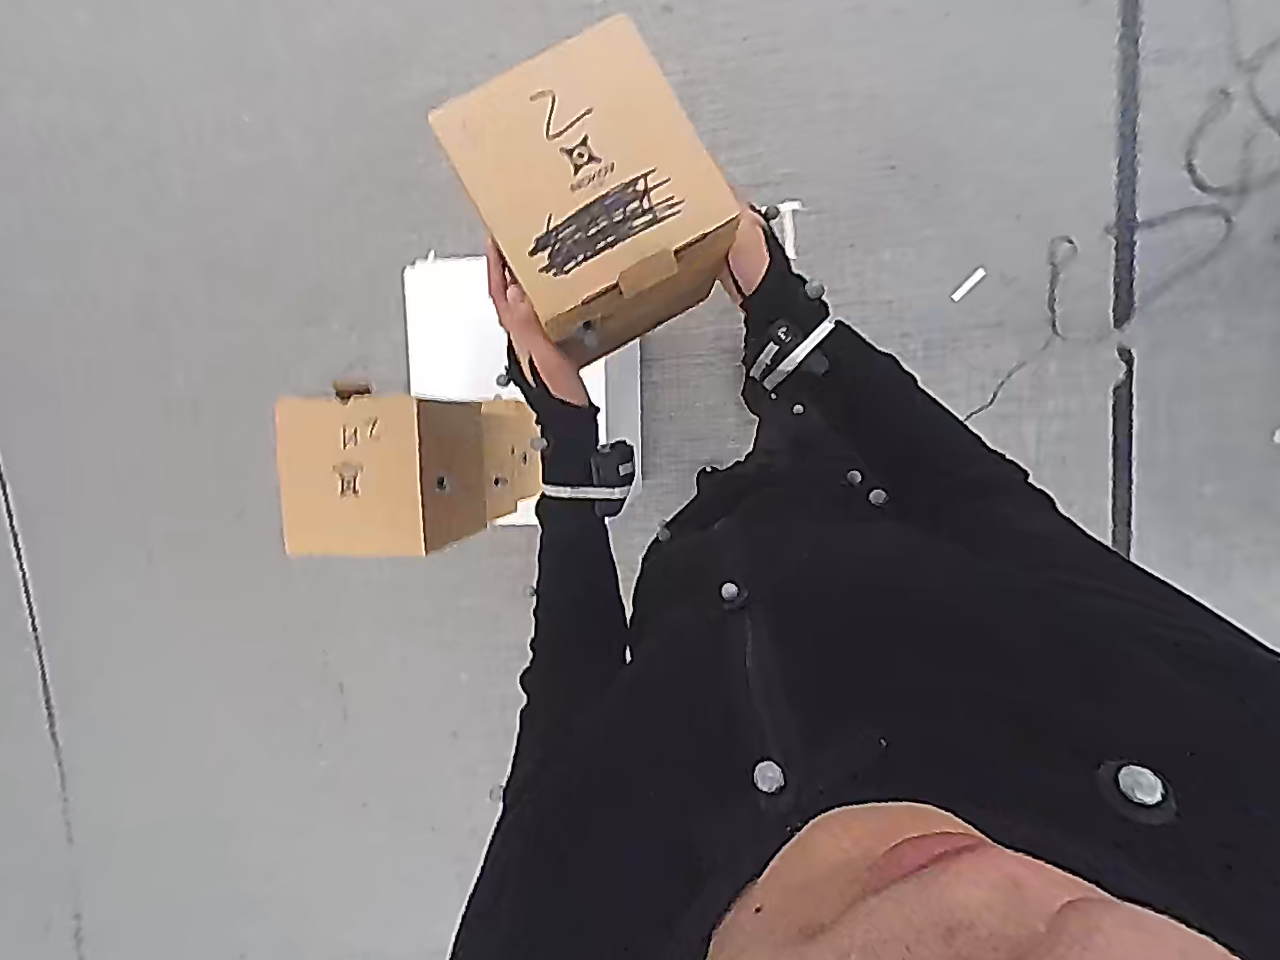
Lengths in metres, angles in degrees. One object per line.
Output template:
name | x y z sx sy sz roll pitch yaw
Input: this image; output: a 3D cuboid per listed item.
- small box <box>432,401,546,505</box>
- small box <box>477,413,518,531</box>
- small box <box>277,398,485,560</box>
small box | -0.274 -0.051 0.984 0.168 0.176 0.179 0 94 7
small box | -0.293 -0.021 0.824 0.179 0.176 0.168 2 95 7
small box | -0.299 -0.007 0.660 0.168 0.176 0.179 -1 94 7
